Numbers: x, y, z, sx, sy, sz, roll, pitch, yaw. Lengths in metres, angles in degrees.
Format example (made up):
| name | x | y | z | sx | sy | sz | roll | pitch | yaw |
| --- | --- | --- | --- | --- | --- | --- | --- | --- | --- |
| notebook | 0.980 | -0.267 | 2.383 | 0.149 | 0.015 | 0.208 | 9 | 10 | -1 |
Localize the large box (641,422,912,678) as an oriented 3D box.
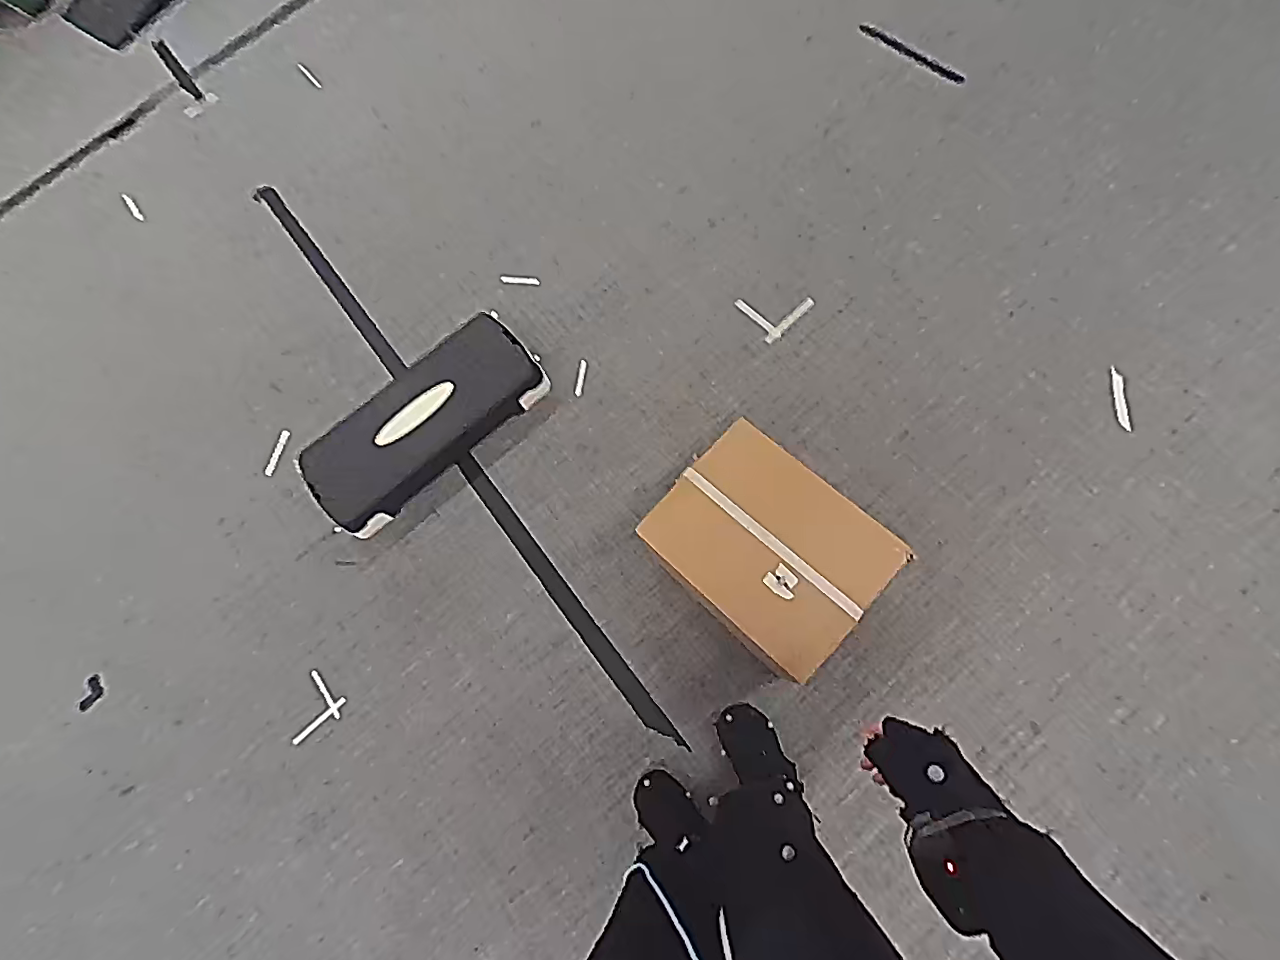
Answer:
| name | x | y | z | sx | sy | sz | roll | pitch | yaw |
| --- | --- | --- | --- | --- | --- | --- | --- | --- | --- |
| large box | 0.260 | 0.155 | 1.142 | 0.408 | 0.320 | 0.320 | 41 | 83 | 17 |
